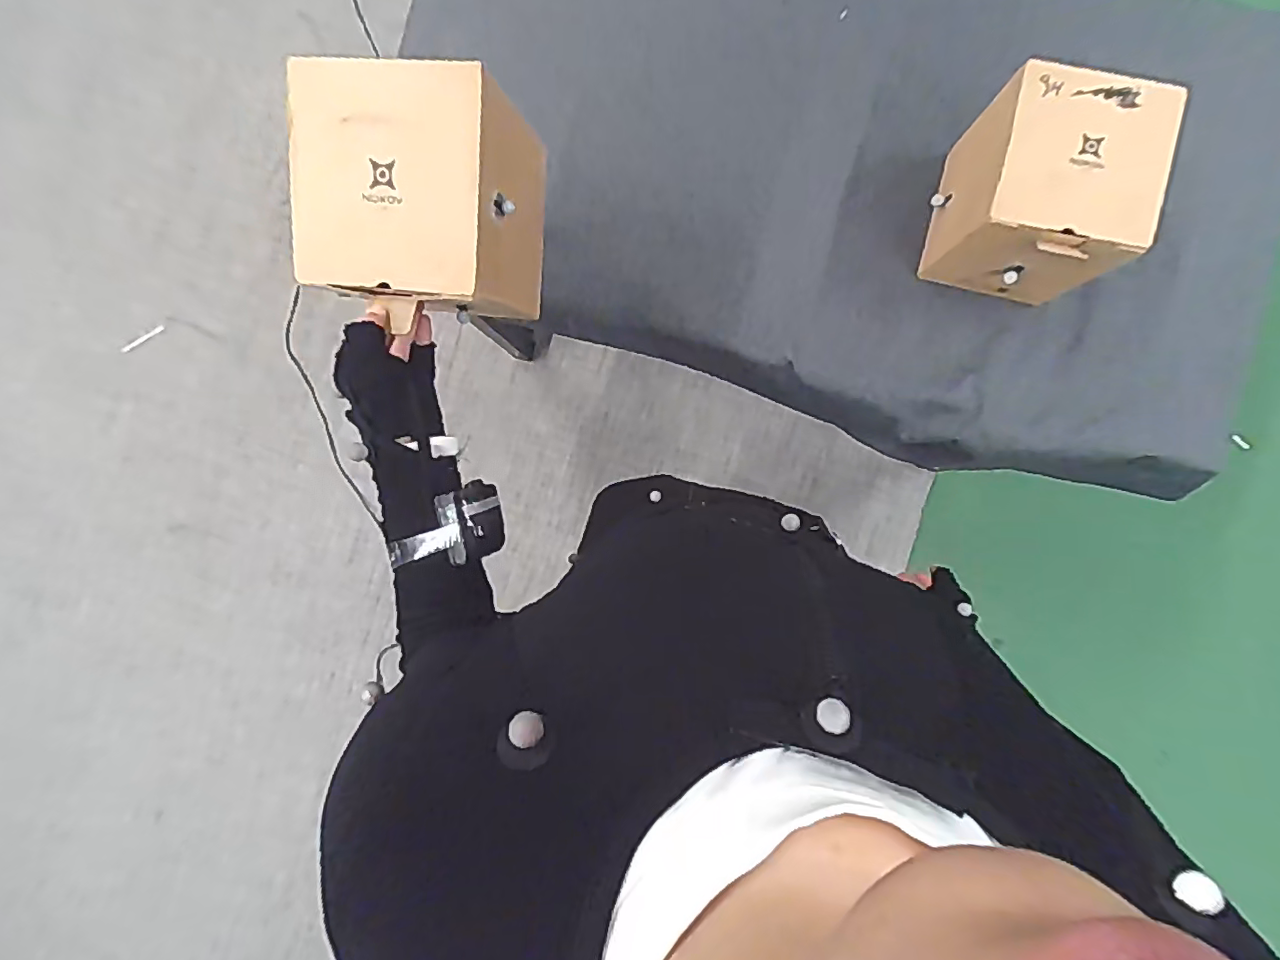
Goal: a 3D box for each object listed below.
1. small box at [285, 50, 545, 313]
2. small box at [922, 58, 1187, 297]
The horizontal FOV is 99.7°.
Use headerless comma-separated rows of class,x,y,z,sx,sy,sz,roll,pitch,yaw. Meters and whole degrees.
small box,-0.195,-0.259,0.510,0.168,0.176,0.179,6,101,6
small box,0.465,-0.337,0.640,0.168,0.176,0.179,14,92,2
